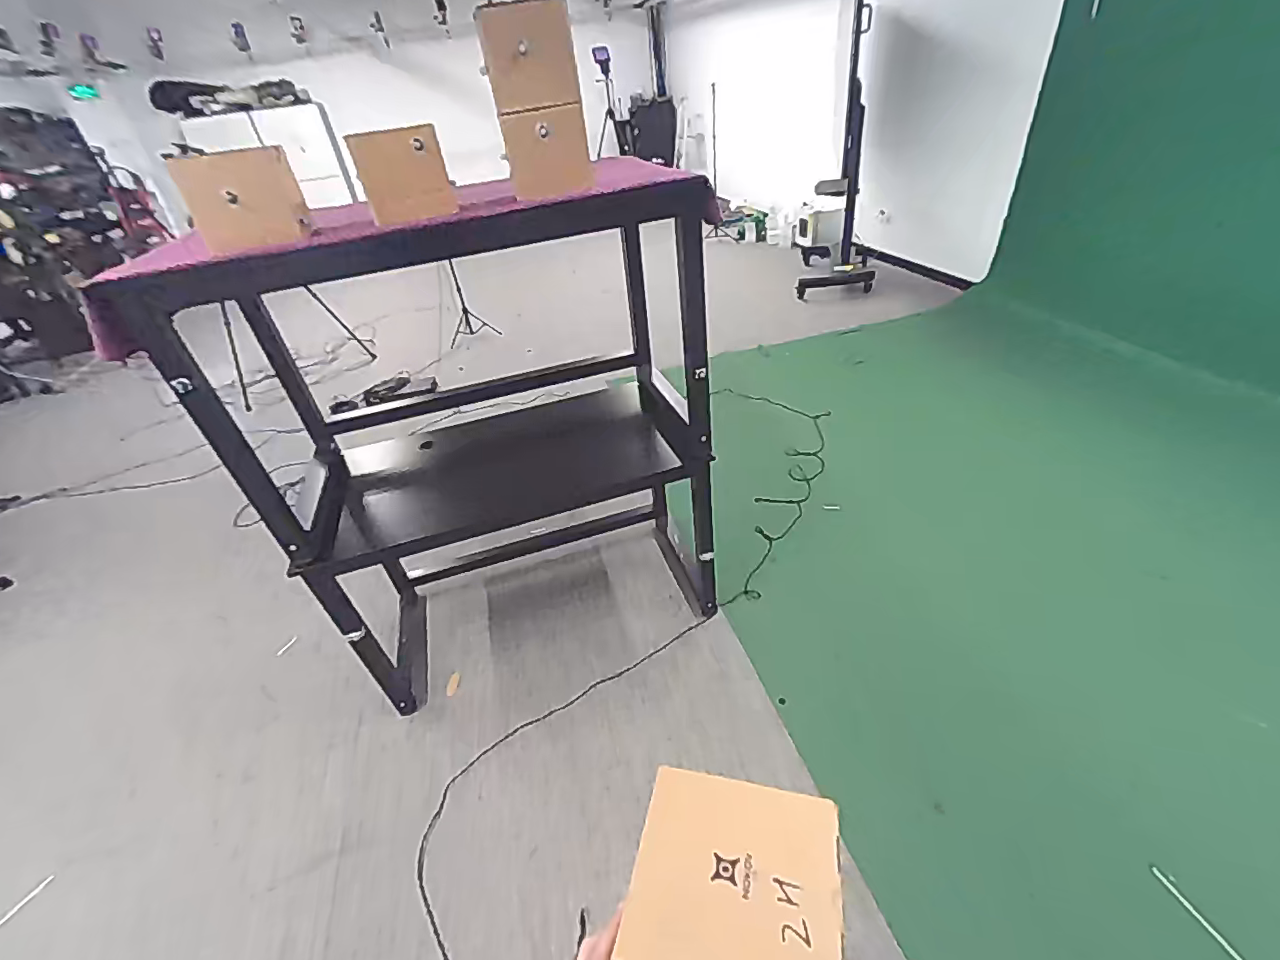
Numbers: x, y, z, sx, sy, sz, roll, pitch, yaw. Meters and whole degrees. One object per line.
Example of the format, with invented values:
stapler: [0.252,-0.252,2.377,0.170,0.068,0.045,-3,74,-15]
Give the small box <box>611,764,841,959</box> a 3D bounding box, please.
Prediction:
small box: [0.087,0.405,0.504,0.179,0.176,0.168,4,31,15]

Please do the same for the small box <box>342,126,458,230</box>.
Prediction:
small box: [-0.508,-0.651,1.167,0.179,0.176,0.168,-15,36,-11]

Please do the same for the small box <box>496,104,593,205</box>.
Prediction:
small box: [-0.214,-0.728,1.213,0.179,0.176,0.168,-13,36,-6]

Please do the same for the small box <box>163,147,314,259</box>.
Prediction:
small box: [-0.799,-0.567,1.103,0.179,0.176,0.168,-17,36,-11]

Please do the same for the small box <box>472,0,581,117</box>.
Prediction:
small box: [-0.233,-0.859,1.118,0.179,0.176,0.168,-15,37,-6]
